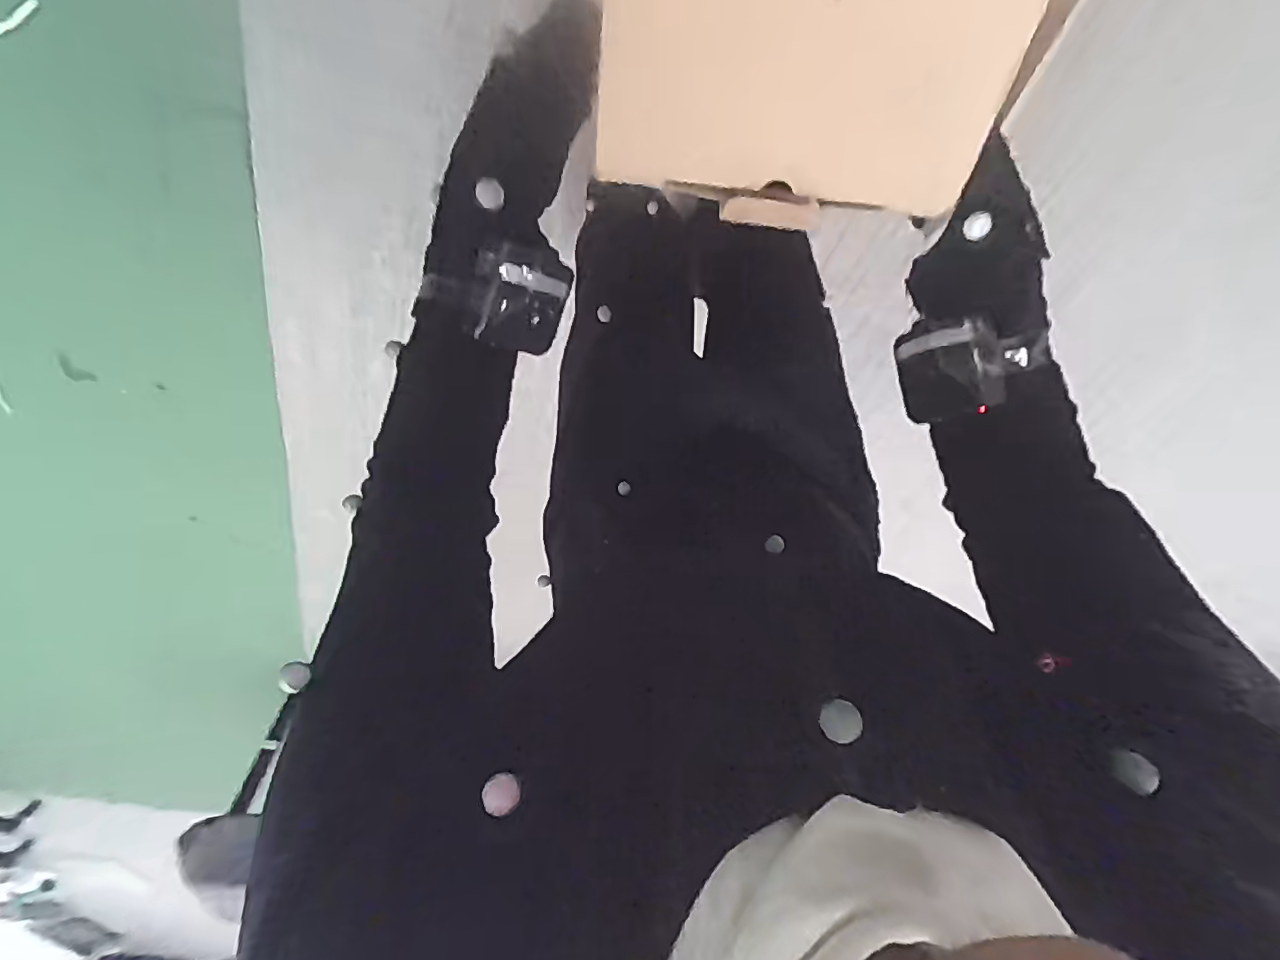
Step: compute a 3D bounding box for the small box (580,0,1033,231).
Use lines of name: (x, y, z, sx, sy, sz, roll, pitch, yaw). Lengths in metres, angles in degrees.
small box: (0.064, -0.241, 0.249, 0.168, 0.176, 0.179, 4, 132, -4)
